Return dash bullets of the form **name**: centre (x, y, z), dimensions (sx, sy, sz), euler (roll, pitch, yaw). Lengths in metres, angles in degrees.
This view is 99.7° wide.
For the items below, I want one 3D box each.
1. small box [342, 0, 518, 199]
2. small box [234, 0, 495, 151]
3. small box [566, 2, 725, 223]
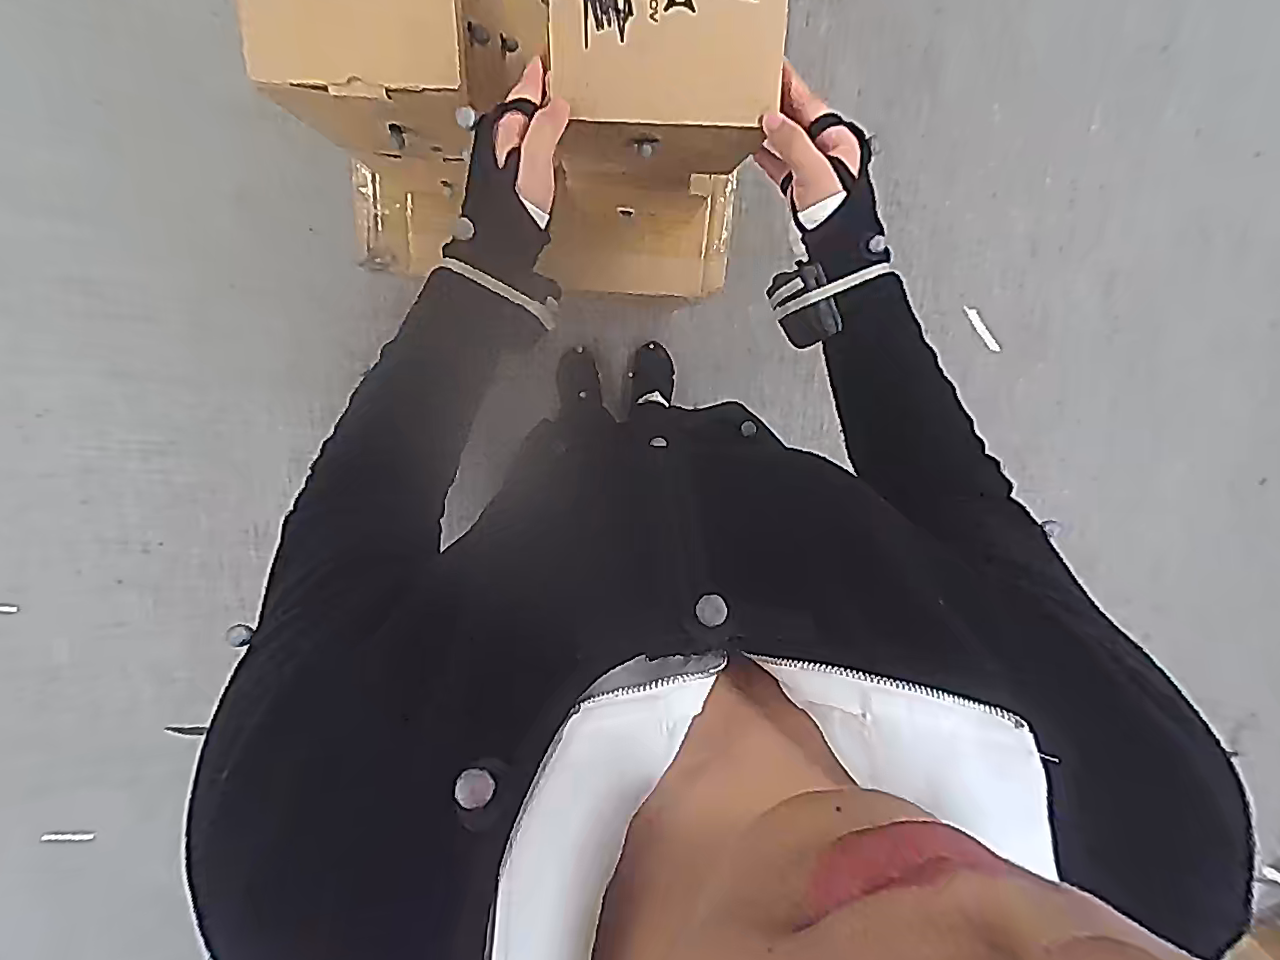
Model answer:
- **small box**: centre (-0.241, -0.456, 0.644), dimensions (0.168, 0.176, 0.179), euler (1, 106, -5)
- **small box**: centre (-0.230, -0.415, 0.485), dimensions (0.168, 0.176, 0.179), euler (0, 106, -4)
- **small box**: centre (0.001, -0.432, 0.667), dimensions (0.168, 0.176, 0.179), euler (3, 107, -2)
